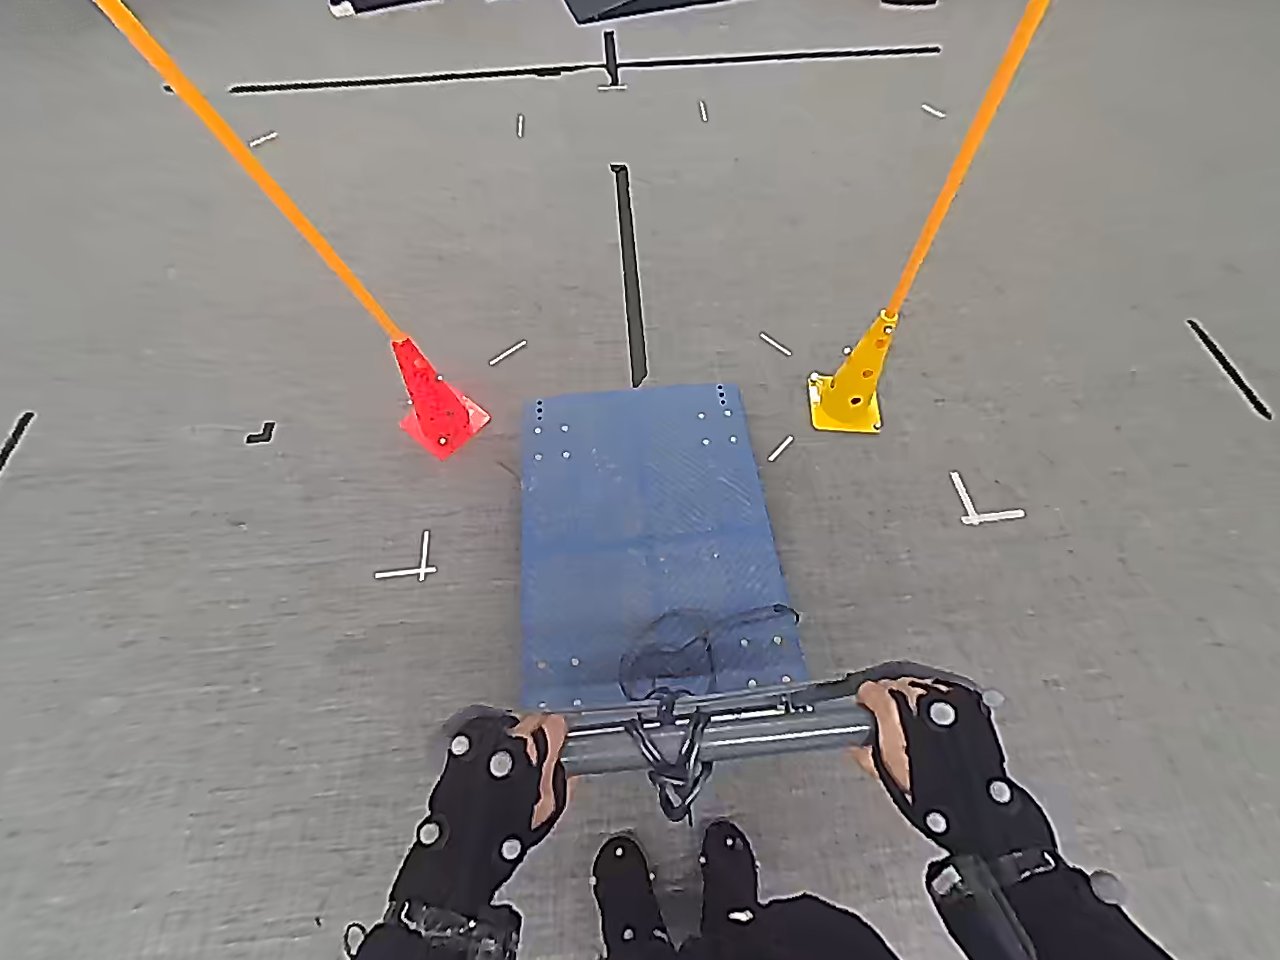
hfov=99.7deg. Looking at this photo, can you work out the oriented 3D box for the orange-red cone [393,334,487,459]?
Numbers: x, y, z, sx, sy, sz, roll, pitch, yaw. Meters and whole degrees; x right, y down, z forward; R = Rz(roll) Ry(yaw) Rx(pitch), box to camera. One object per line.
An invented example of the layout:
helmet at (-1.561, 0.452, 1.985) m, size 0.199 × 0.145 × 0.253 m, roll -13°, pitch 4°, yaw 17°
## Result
orange-red cone at (-0.574, -0.252, 1.442) m, size 0.198 × 0.360 × 0.199 m, roll 37°, pitch 66°, yaw 17°
